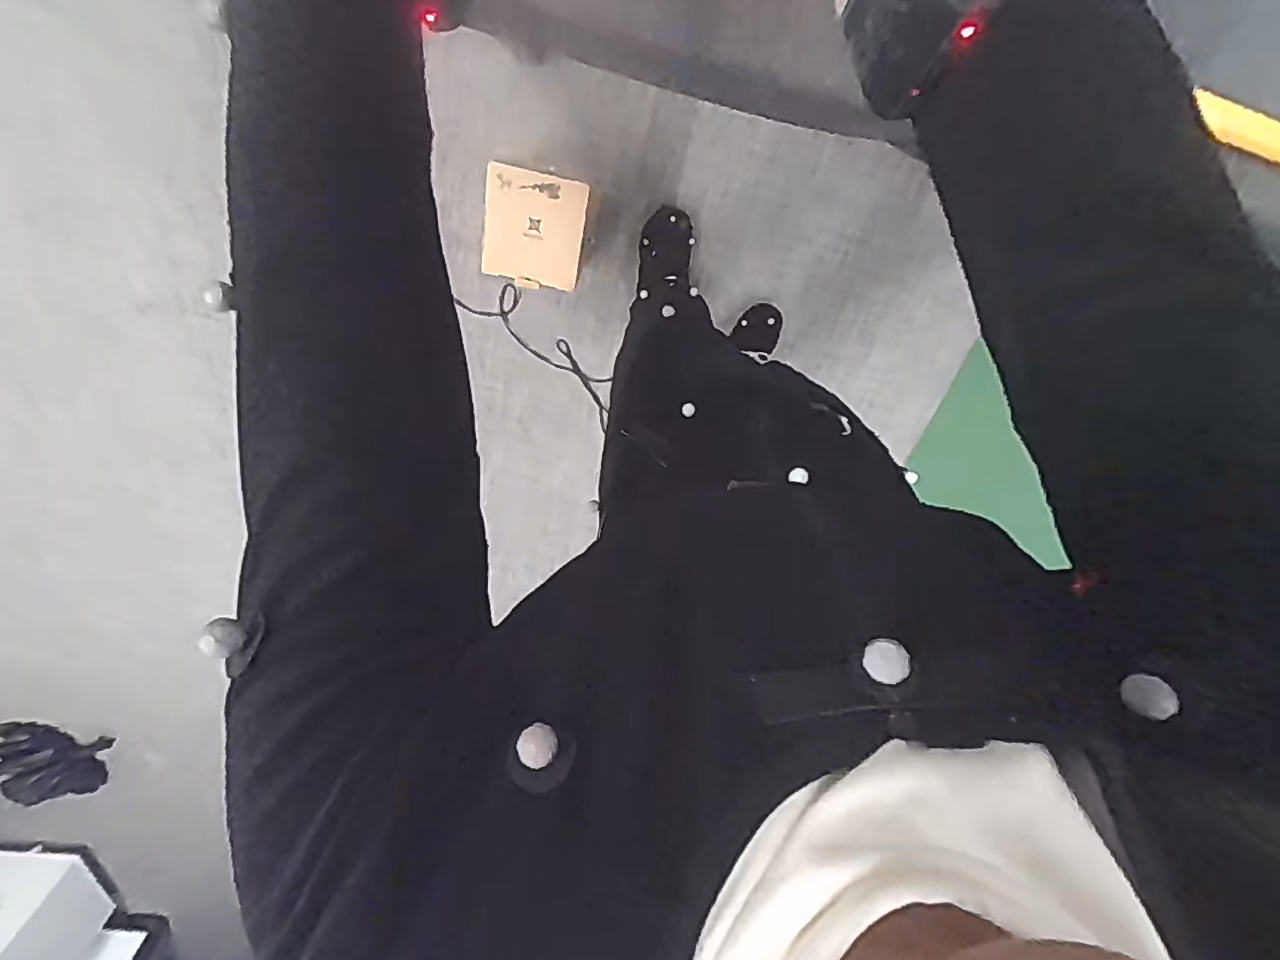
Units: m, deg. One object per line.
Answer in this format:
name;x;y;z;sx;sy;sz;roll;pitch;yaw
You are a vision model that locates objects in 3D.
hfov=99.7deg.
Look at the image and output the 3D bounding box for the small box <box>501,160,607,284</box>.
small box;-0.172;-0.538;1.118;0.168;0.176;0.179;19;120;-11
